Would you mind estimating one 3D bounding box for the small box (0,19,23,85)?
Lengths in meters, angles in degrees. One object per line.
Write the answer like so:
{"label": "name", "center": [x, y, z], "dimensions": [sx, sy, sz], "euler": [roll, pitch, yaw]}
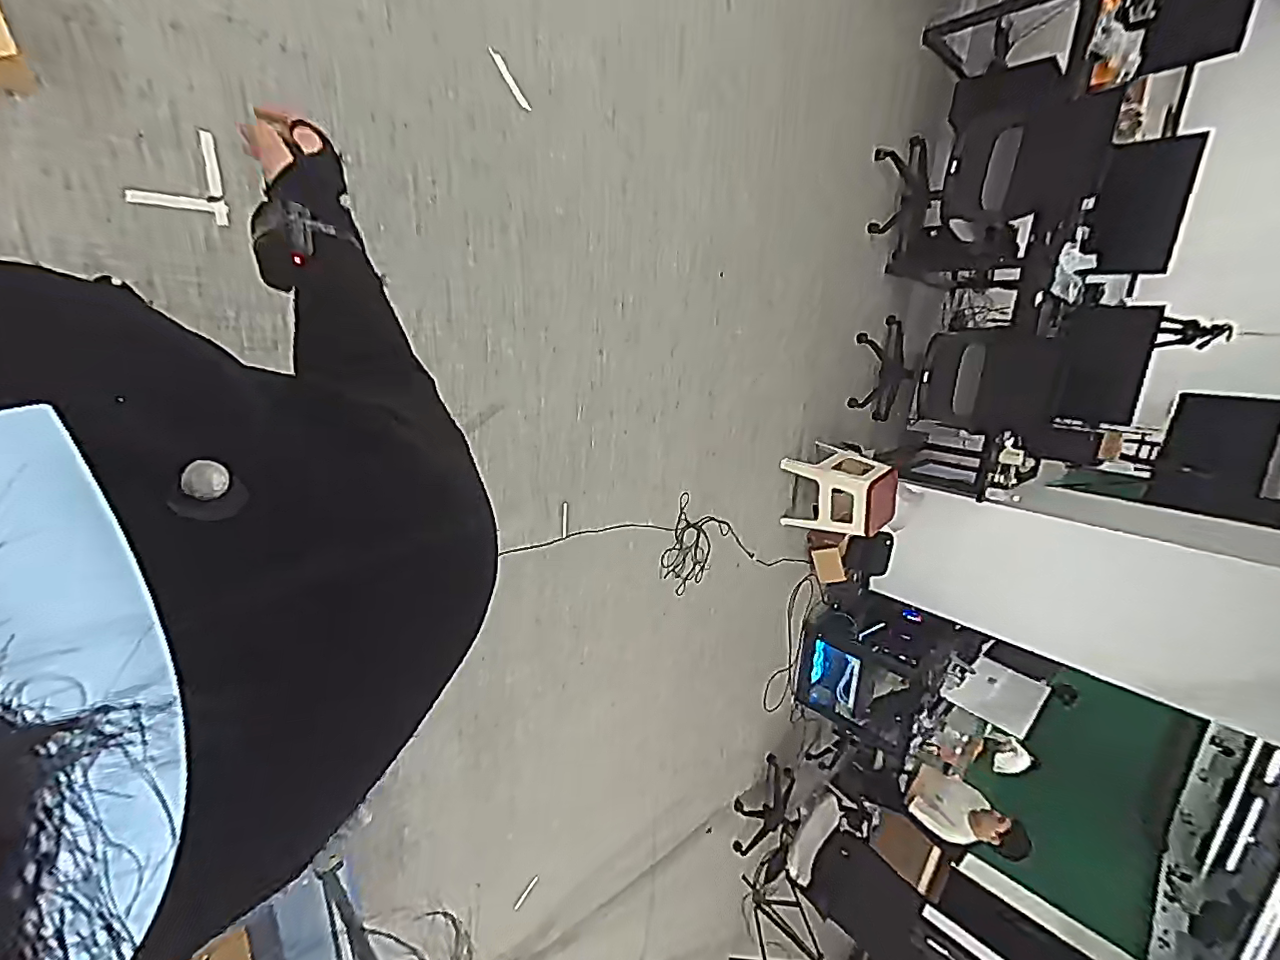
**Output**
{"label": "small box", "center": [-1.060, -0.711, 0.785], "dimensions": [0.168, 0.176, 0.179], "euler": [-24, 119, -37]}
